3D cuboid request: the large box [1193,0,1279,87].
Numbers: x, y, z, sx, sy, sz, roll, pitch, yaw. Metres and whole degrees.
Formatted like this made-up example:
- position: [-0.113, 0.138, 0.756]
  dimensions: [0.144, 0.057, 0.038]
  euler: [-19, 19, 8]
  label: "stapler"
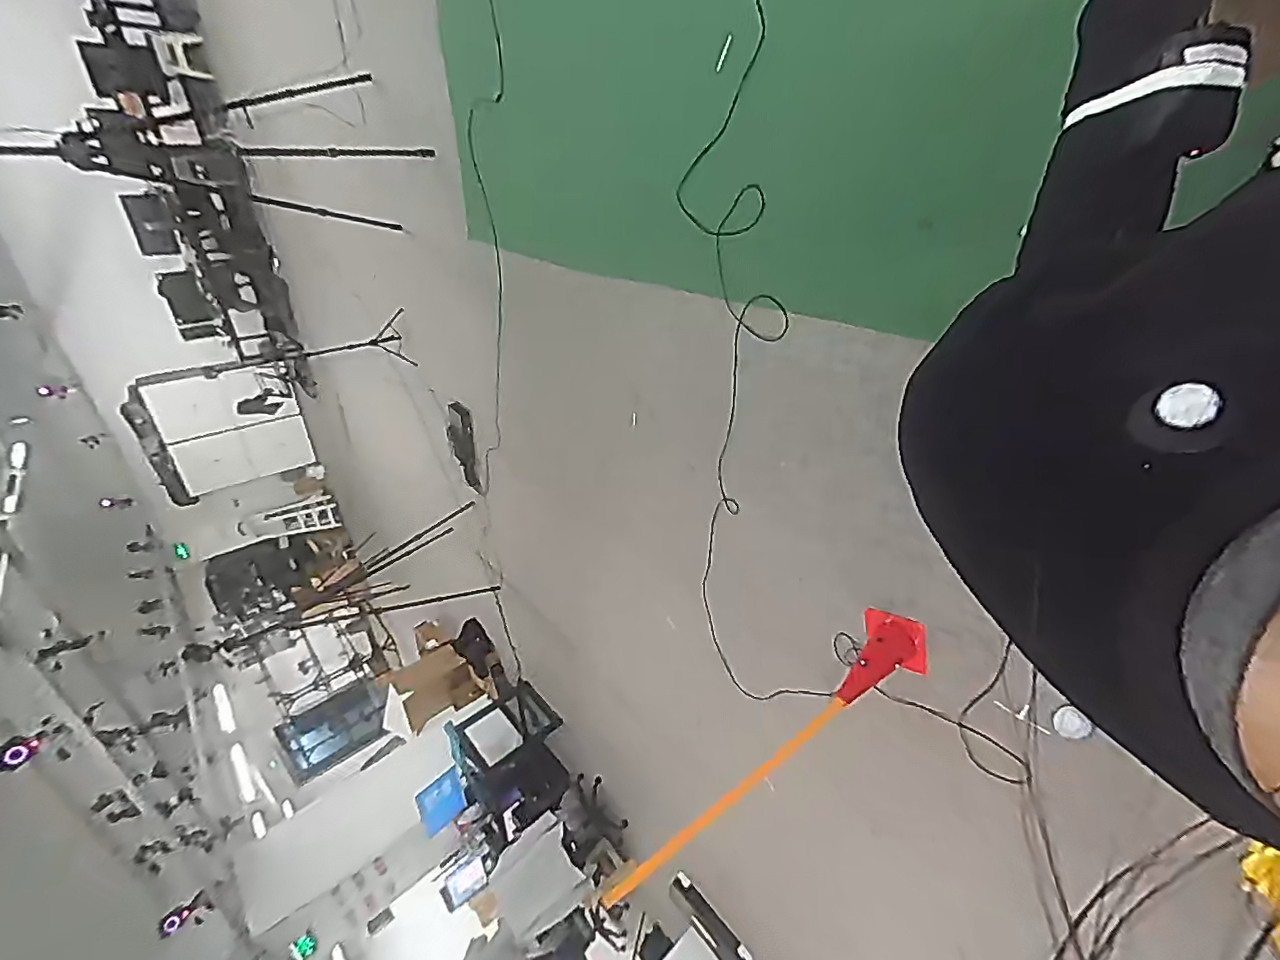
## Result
- position: [0.596, -0.457, 0.263]
  dimensions: [0.408, 0.320, 0.320]
  euler: [15, 113, 40]
  label: "large box"
